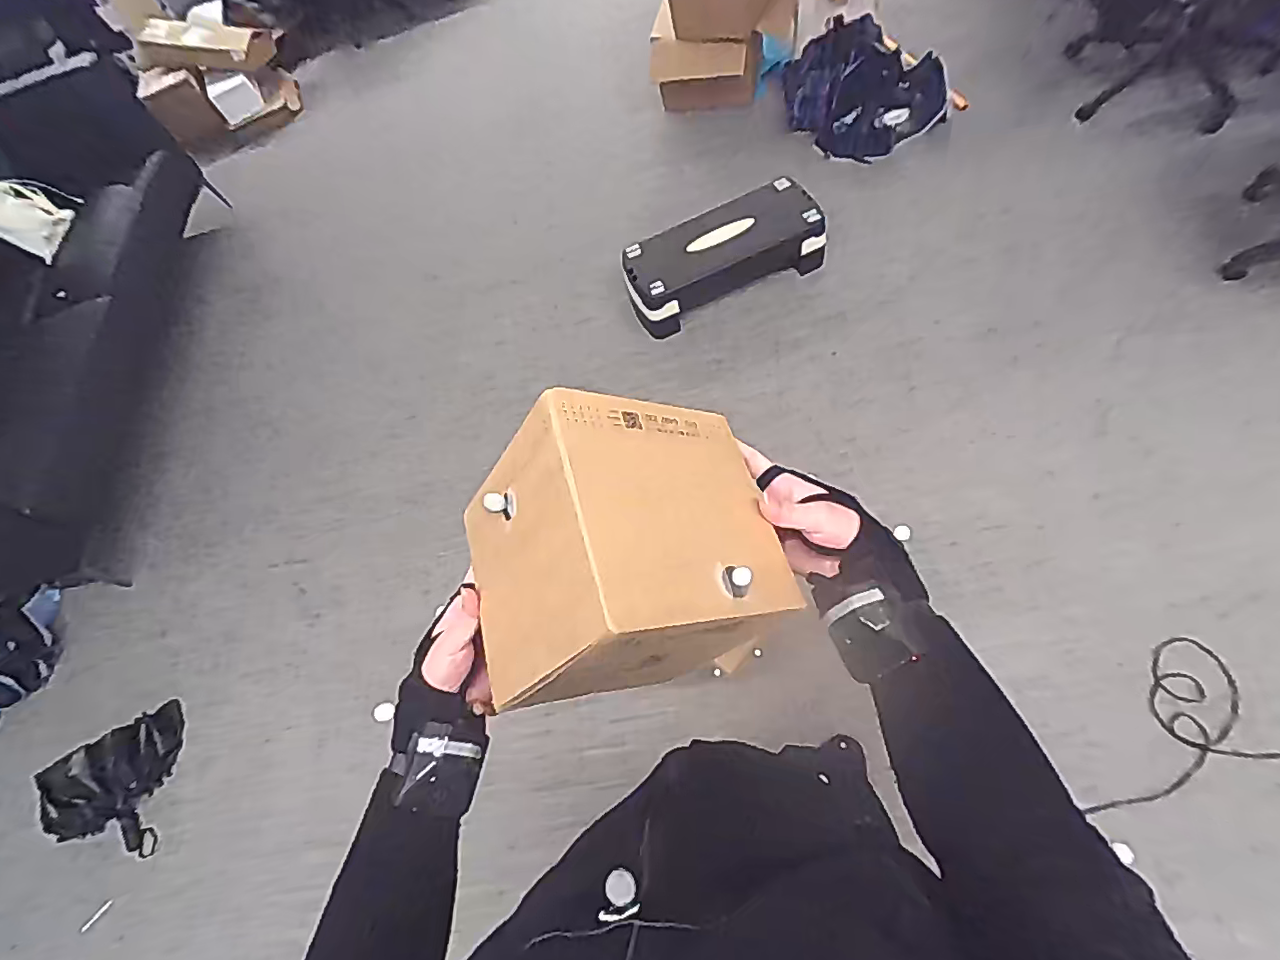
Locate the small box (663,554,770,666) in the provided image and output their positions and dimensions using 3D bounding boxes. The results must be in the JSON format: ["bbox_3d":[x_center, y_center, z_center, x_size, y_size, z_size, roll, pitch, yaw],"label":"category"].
[{"bbox_3d":[0.177,0.303,1.240,0.168,0.176,0.179,38,79,23],"label":"small box"}]
